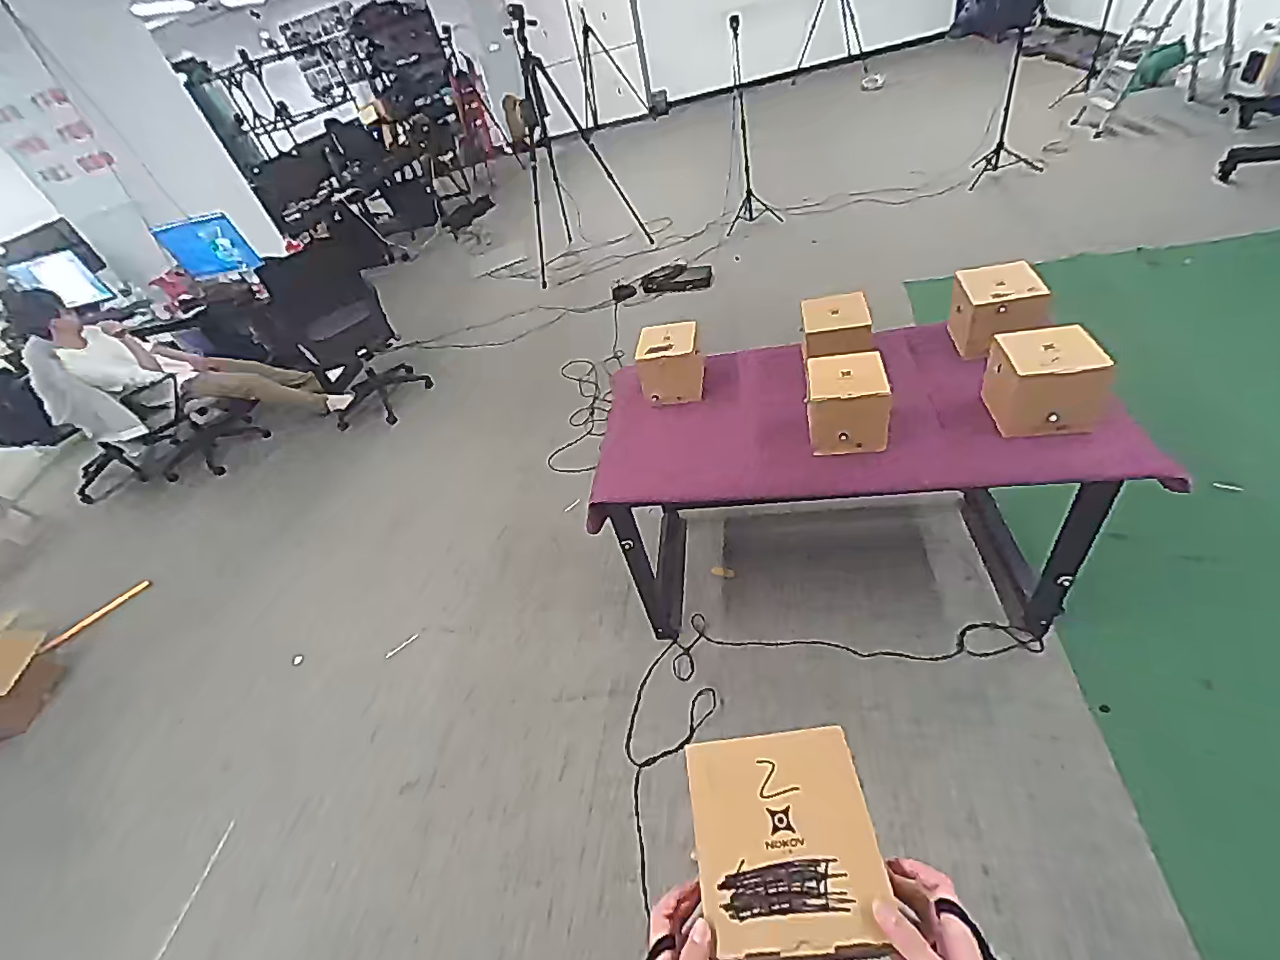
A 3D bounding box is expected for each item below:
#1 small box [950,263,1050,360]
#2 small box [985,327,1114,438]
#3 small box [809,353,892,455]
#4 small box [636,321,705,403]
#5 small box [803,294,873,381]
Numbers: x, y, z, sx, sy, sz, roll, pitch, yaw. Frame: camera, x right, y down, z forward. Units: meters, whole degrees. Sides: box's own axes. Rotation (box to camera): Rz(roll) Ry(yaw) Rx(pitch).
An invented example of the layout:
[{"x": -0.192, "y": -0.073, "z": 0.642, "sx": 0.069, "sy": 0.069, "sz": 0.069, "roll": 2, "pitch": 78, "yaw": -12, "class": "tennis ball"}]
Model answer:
[{"x": 0.929, "y": -0.437, "z": 1.415, "sx": 0.168, "sy": 0.176, "sz": 0.179, "roll": -5, "pitch": 45, "yaw": 16, "class": "small box"}, {"x": 0.884, "y": -0.212, "z": 1.190, "sx": 0.168, "sy": 0.176, "sz": 0.179, "roll": -4, "pitch": 42, "yaw": 17, "class": "small box"}, {"x": 0.495, "y": -0.180, "z": 1.293, "sx": 0.168, "sy": 0.176, "sz": 0.179, "roll": -3, "pitch": 43, "yaw": 15, "class": "small box"}, {"x": 0.097, "y": -0.341, "z": 1.594, "sx": 0.168, "sy": 0.176, "sz": 0.179, "roll": -3, "pitch": 44, "yaw": 15, "class": "small box"}, {"x": 0.543, "y": -0.391, "z": 1.502, "sx": 0.168, "sy": 0.176, "sz": 0.179, "roll": -4, "pitch": 45, "yaw": 16, "class": "small box"}]
